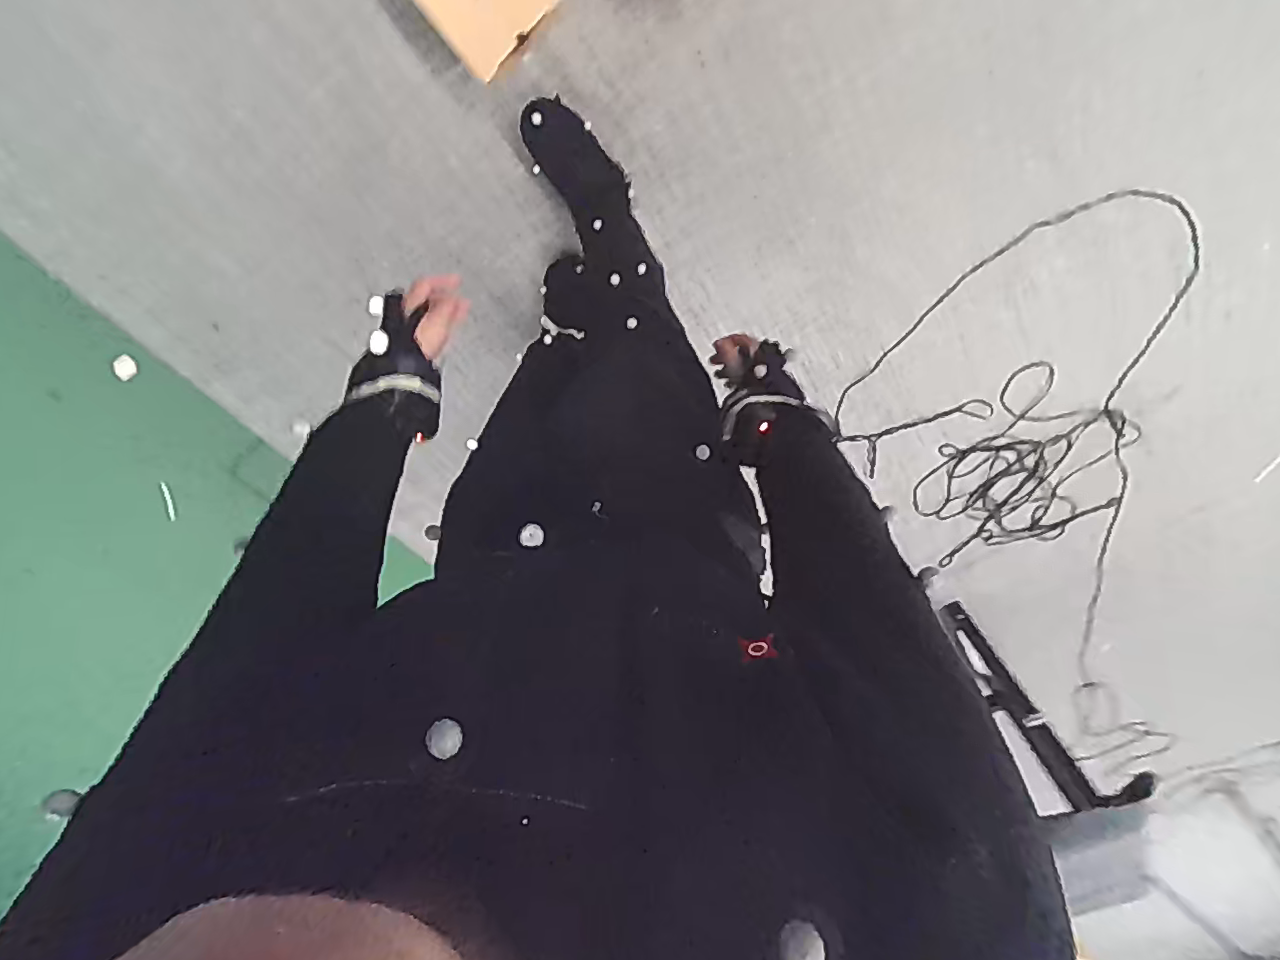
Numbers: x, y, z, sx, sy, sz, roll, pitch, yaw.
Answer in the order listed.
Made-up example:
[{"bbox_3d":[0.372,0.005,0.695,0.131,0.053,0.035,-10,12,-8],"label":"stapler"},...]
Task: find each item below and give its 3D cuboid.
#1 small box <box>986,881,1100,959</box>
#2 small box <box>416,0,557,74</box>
[{"bbox_3d":[1.058,1.186,1.424,0.168,0.176,0.179,-37,123,21],"label":"small box"},{"bbox_3d":[-0.237,-0.726,0.782,0.168,0.176,0.179,-35,123,18],"label":"small box"}]
